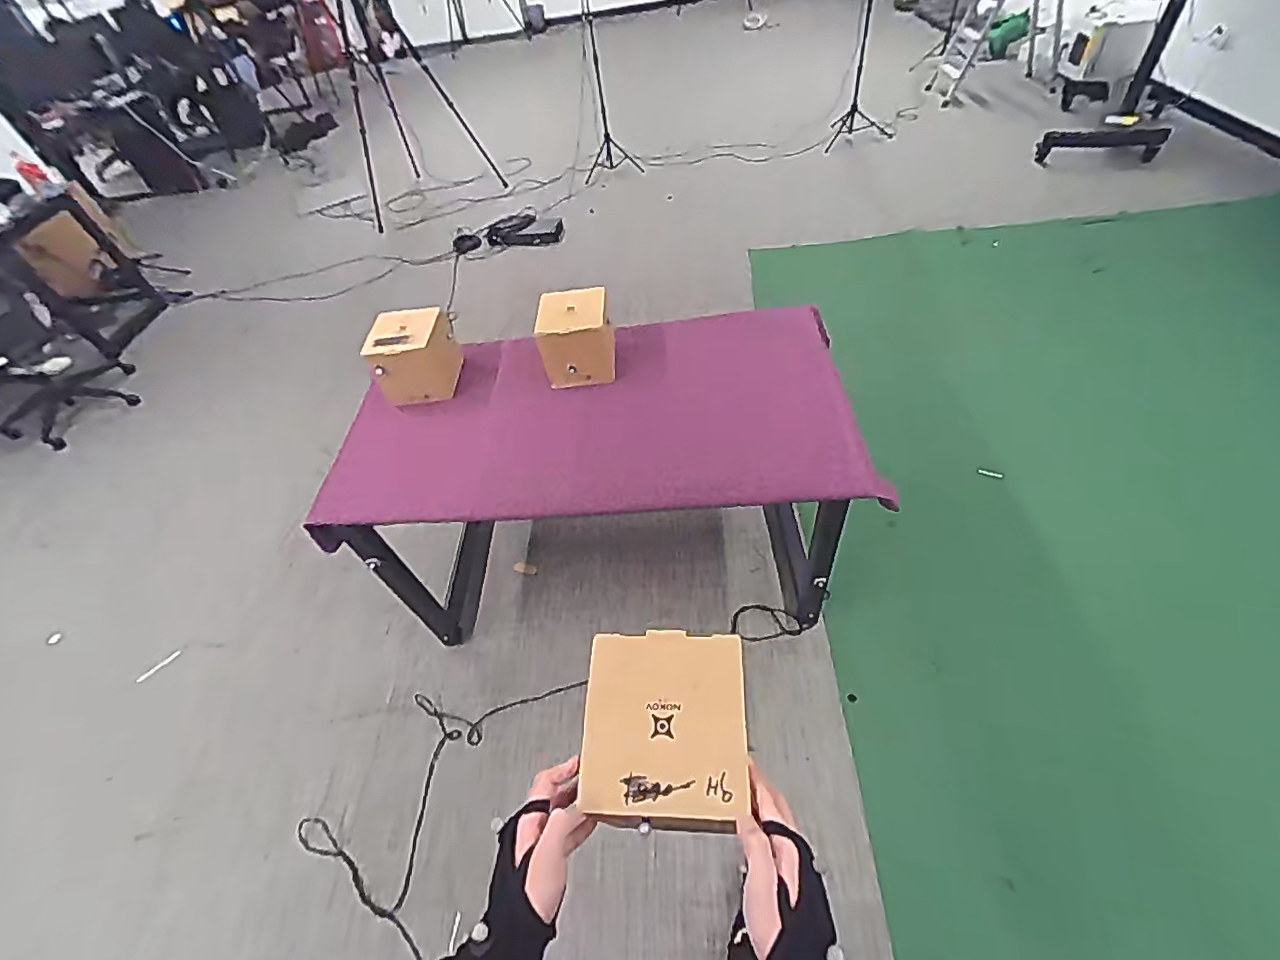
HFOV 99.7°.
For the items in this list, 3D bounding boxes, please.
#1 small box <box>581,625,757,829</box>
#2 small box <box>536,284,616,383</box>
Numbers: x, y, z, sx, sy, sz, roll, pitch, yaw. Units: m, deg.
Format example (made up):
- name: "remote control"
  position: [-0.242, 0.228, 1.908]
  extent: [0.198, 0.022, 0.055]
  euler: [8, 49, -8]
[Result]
- name: "small box"
  position: [0.040, 0.279, 0.609]
  extent: [0.168, 0.176, 0.179]
  euler: [-1, 55, 8]
- name: "small box"
  position: [-0.153, -0.367, 1.362]
  extent: [0.168, 0.176, 0.179]
  euler: [-4, 51, 4]
